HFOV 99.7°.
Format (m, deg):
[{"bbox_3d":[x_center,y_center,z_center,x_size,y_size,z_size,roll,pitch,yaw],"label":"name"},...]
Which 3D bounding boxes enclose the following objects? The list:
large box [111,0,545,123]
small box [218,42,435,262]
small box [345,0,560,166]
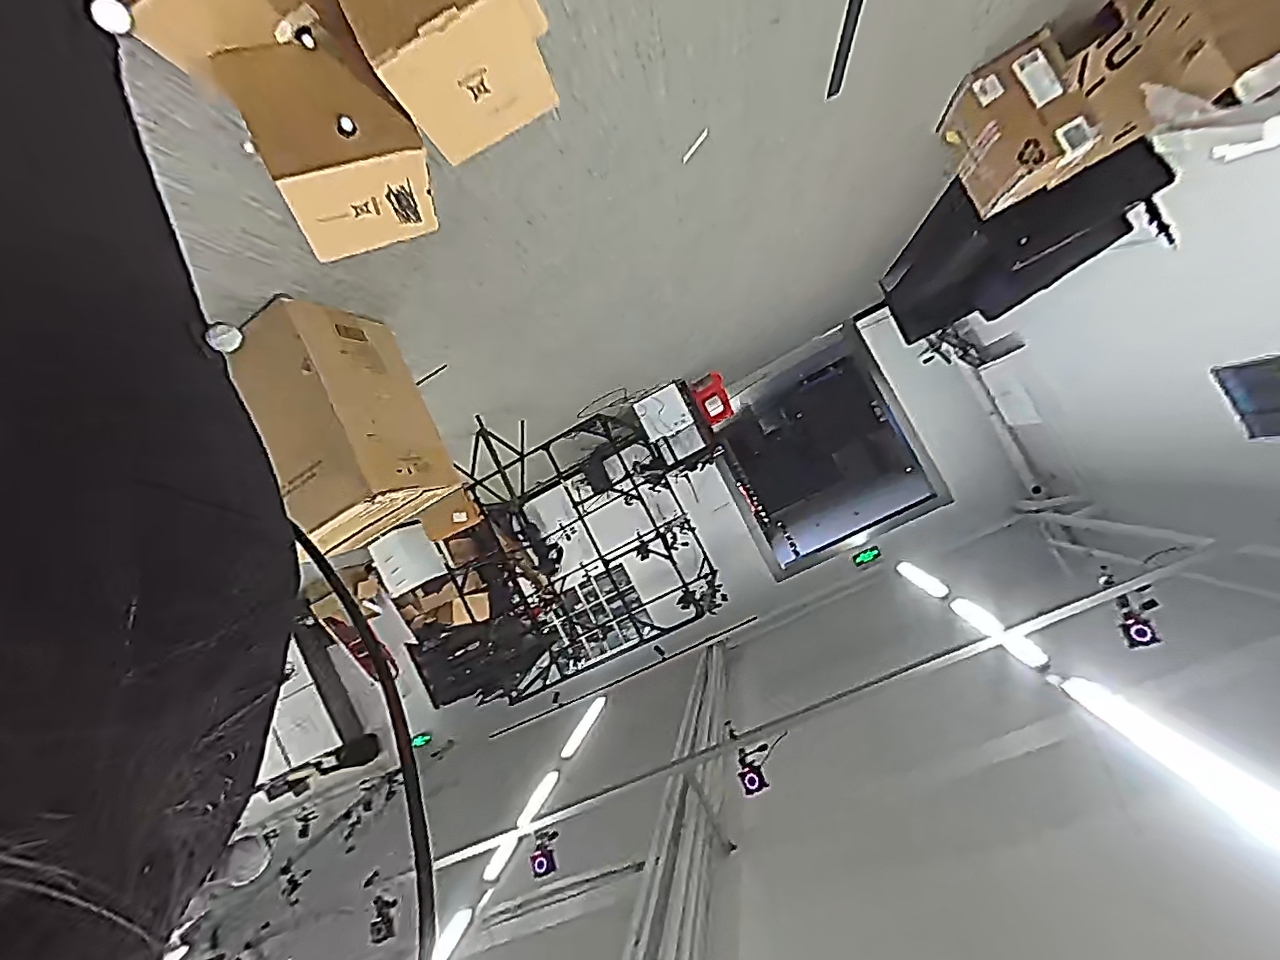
[{"bbox_3d":[-0.399,-0.696,0.671,0.408,0.320,0.320,-26,176,10],"label":"large box"},{"bbox_3d":[-0.392,-0.423,0.704,0.179,0.176,0.168,-25,177,-19],"label":"small box"},{"bbox_3d":[-0.218,-0.517,0.618,0.168,0.176,0.179,-24,177,7],"label":"small box"}]
